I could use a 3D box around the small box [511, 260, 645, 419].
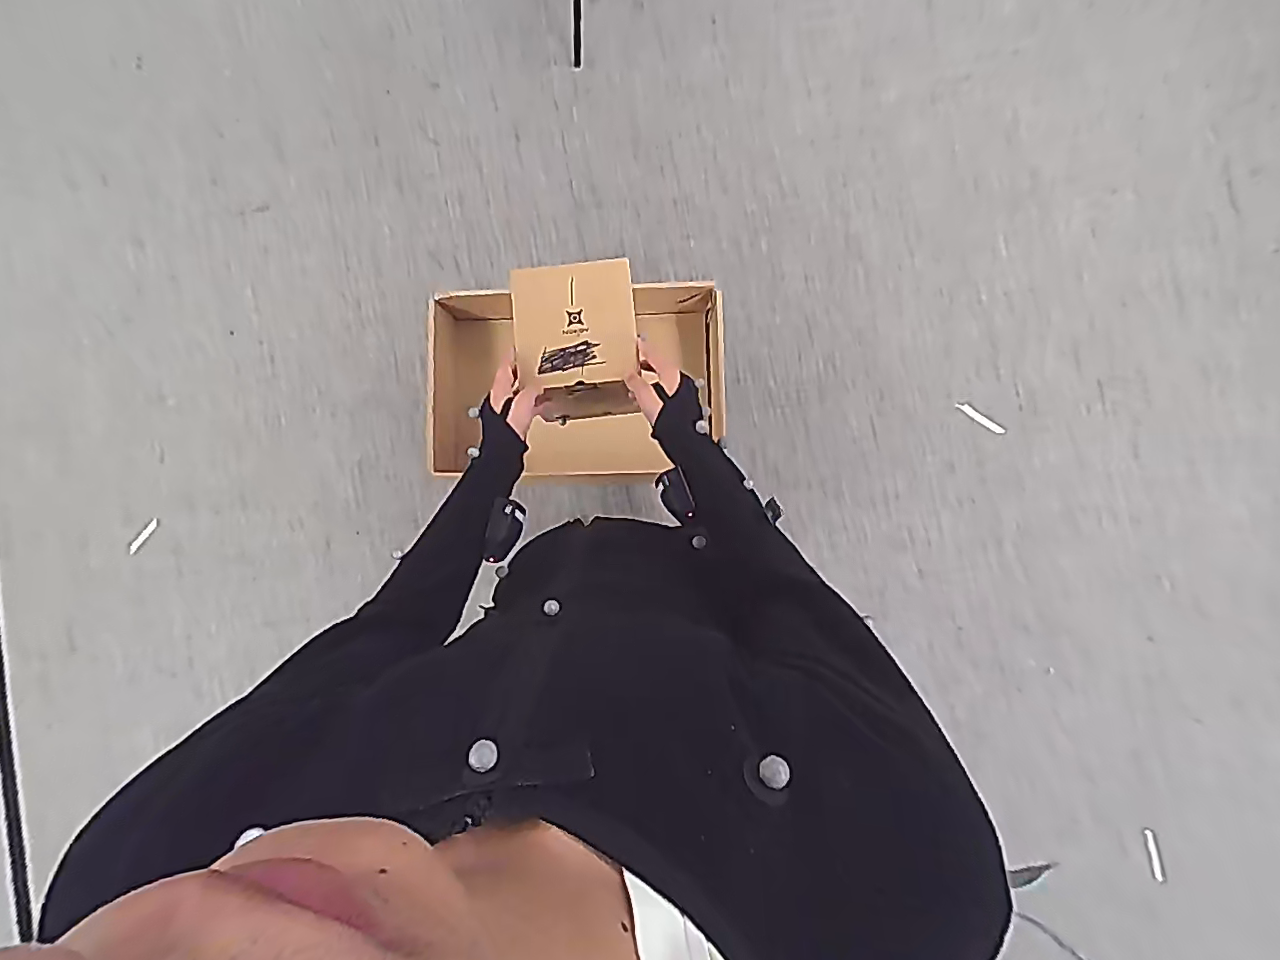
[{"bbox_3d":[-0.083,-0.194,0.802,0.168,0.176,0.179,-6,81,1],"label":"small box"}]
